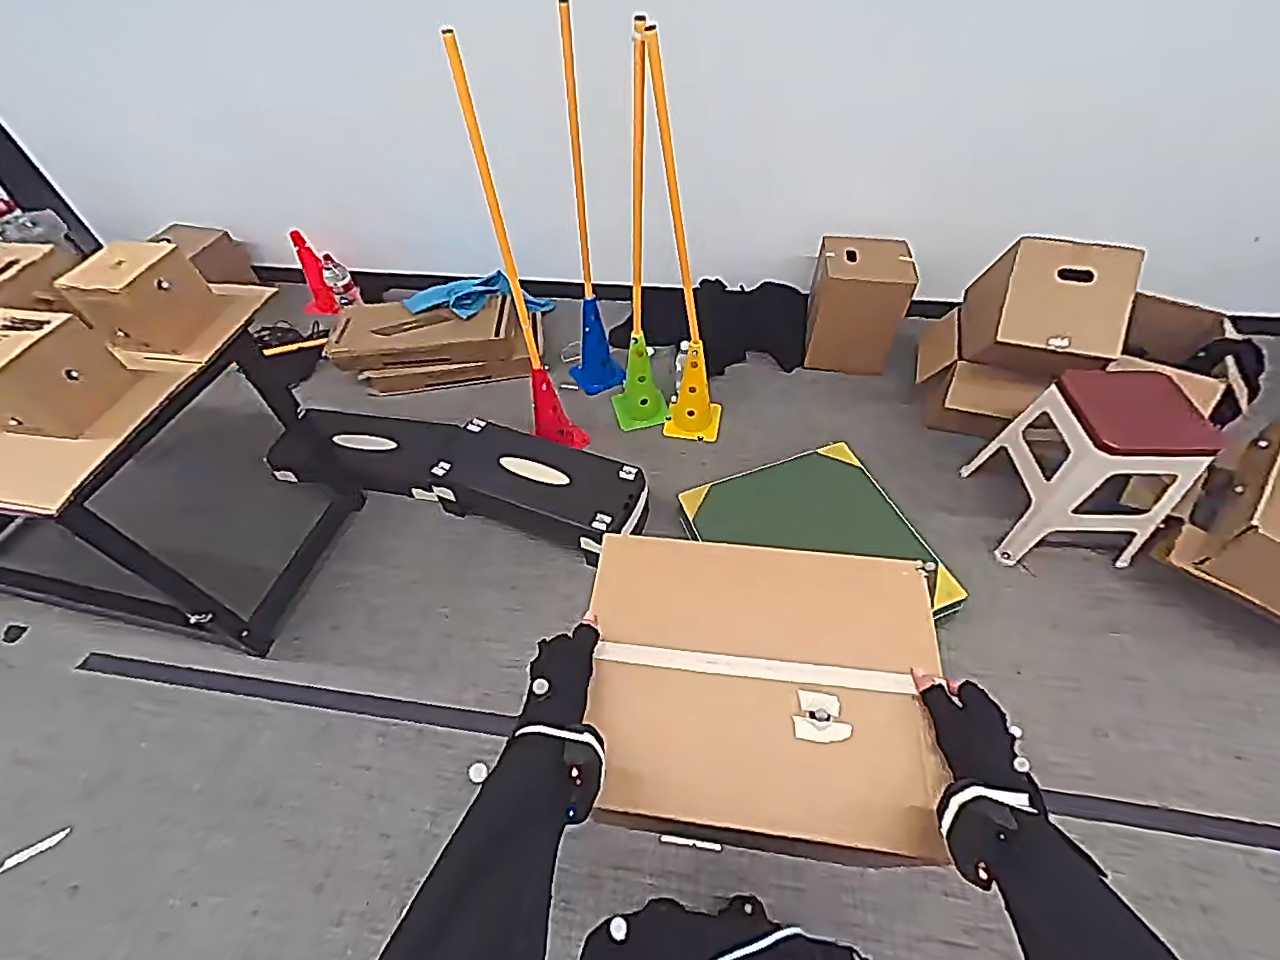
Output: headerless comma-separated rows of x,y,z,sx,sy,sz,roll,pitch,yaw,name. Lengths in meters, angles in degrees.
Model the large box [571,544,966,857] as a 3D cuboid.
0.144,0.310,0.750,0.408,0.320,0.320,5,56,6,large box
